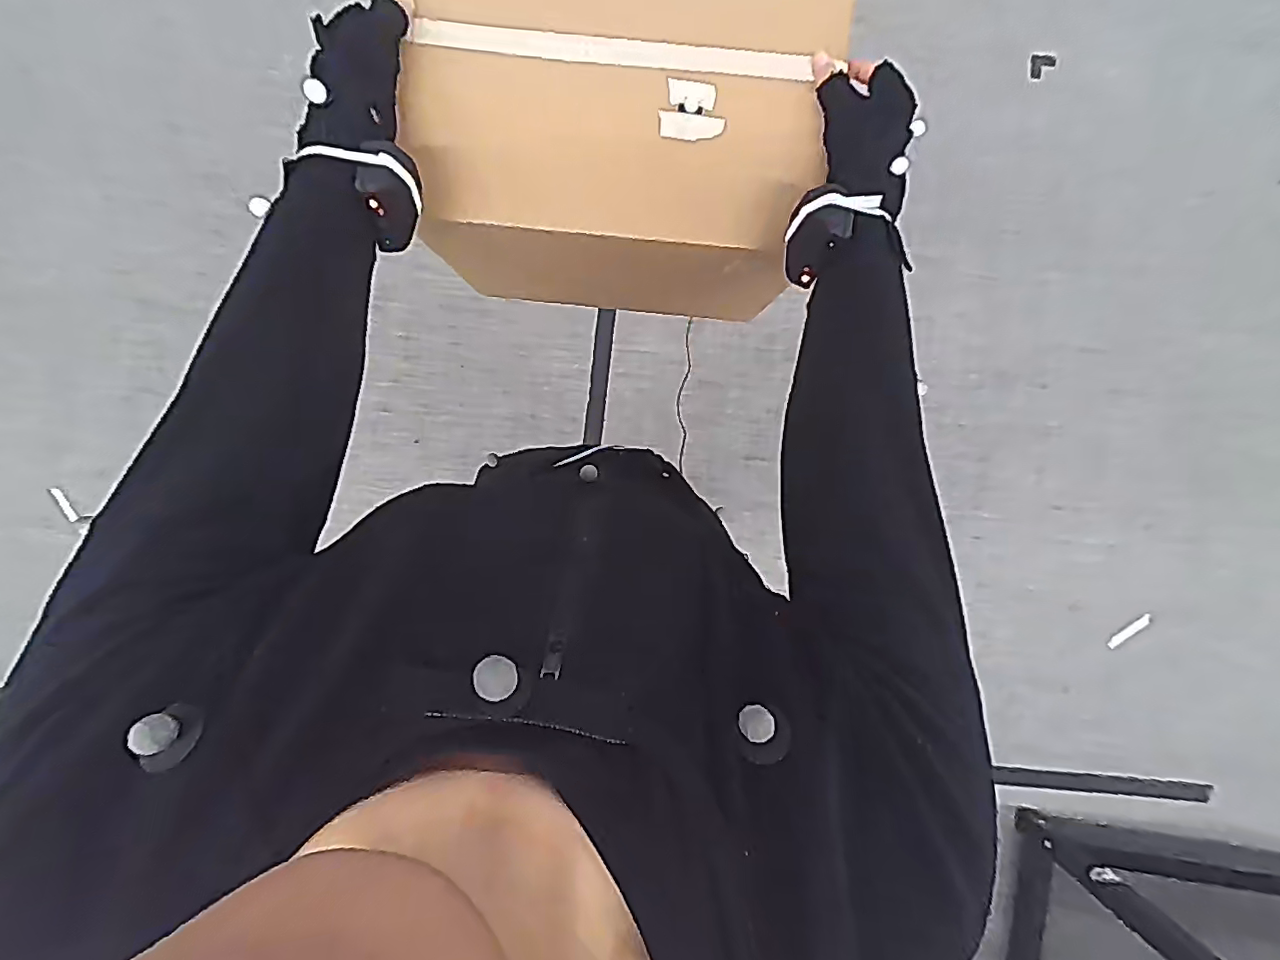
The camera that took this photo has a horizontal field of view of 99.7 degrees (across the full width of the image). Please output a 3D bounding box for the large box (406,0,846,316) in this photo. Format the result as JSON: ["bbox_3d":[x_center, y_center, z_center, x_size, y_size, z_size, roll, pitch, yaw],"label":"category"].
[{"bbox_3d":[-0.018,-0.395,0.646,0.408,0.320,0.320,4,96,-2],"label":"large box"}]
